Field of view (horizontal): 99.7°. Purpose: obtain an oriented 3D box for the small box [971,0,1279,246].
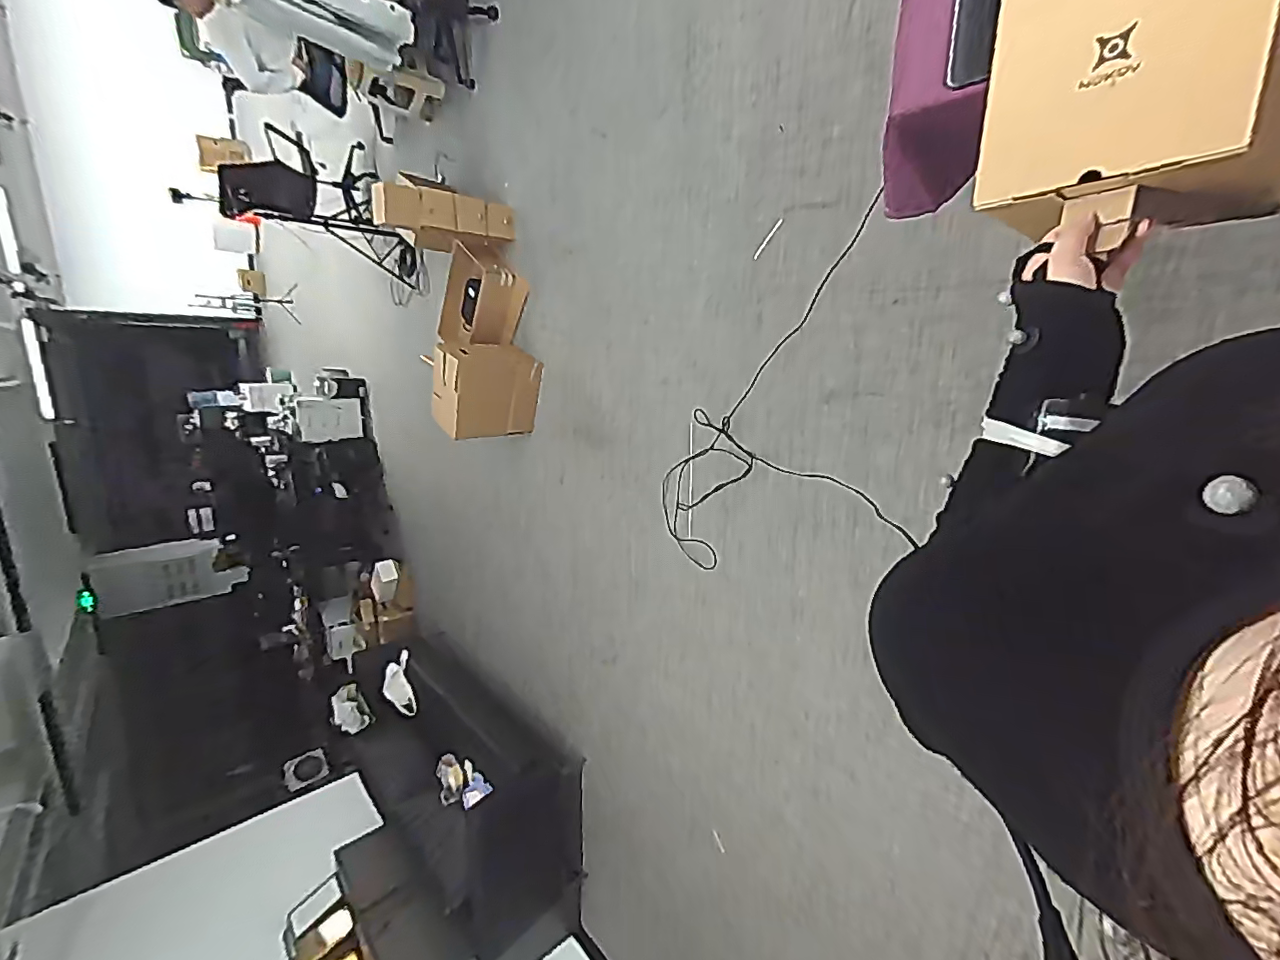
[{"bbox_3d":[0.406,-0.309,0.442,0.168,0.176,0.179,16,107,52],"label":"small box"}]
